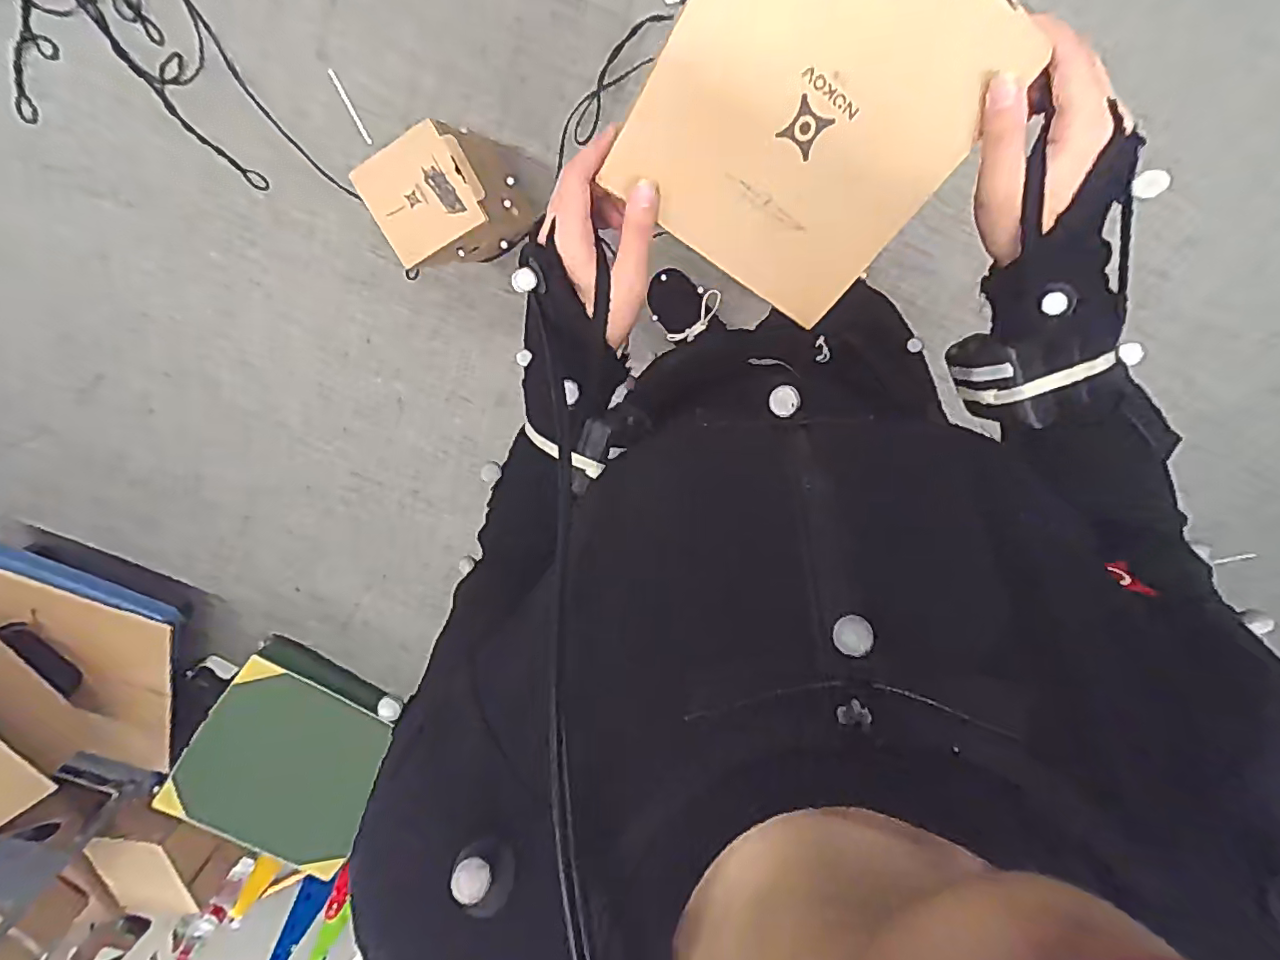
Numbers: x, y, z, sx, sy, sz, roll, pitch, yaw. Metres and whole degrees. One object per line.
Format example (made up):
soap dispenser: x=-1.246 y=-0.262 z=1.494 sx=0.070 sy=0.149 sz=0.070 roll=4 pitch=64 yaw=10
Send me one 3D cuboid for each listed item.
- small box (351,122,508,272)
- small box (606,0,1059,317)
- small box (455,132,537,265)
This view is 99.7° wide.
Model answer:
small box: x=-0.354 y=-0.490 z=0.955 sx=0.179 sy=0.176 sz=0.168 roll=-23 pitch=110 yaw=15
small box: x=0.094 y=-0.246 z=0.344 sx=0.168 sy=0.176 sz=0.179 roll=27 pitch=125 yaw=-17
small box: x=-0.335 y=-0.566 z=1.102 sx=0.168 sy=0.176 sz=0.179 roll=-28 pitch=109 yaw=16
